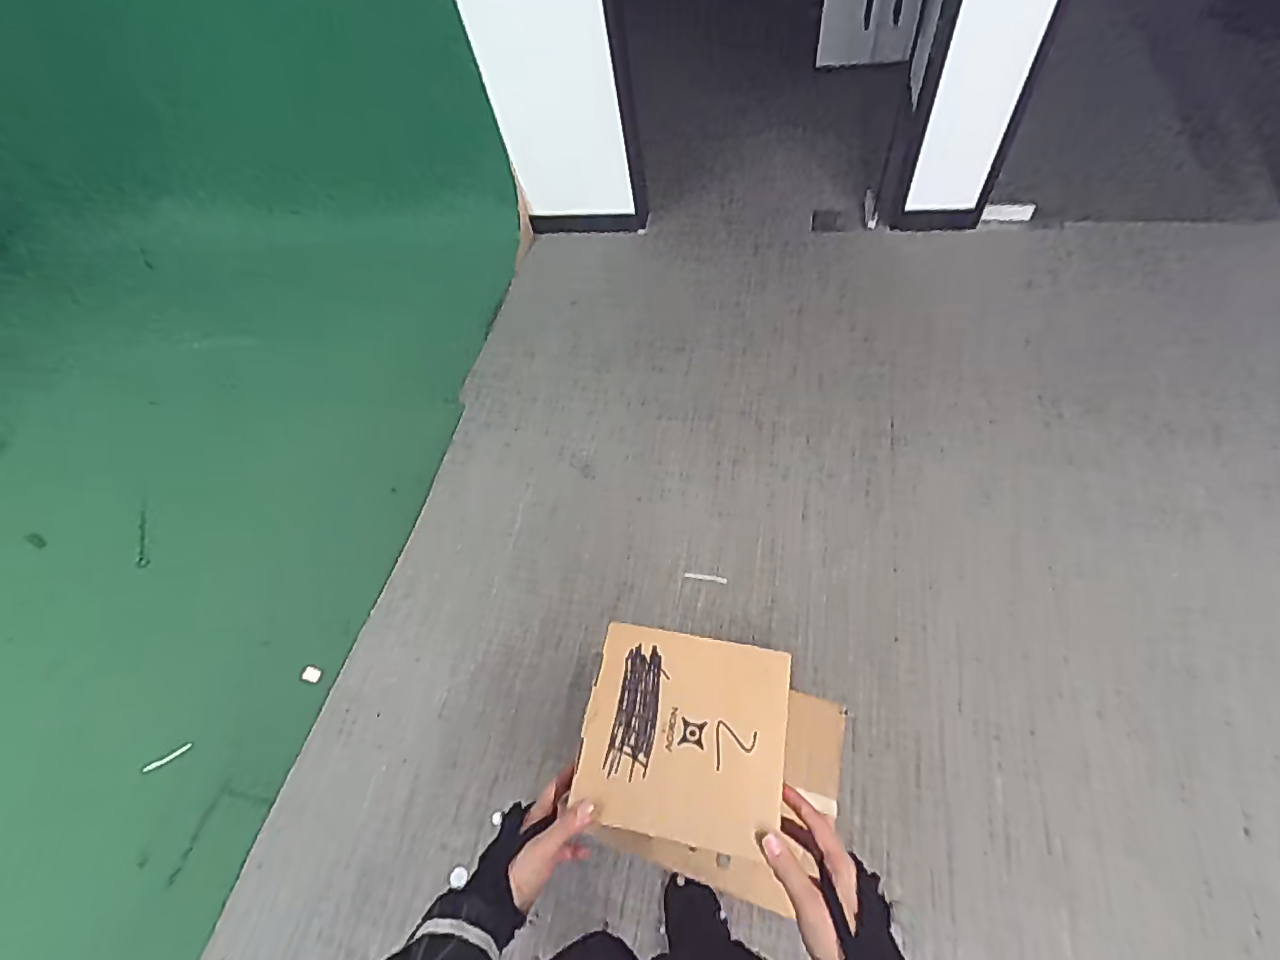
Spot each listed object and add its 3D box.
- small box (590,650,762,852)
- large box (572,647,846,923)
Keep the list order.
[{"bbox_3d":[0.053,0.339,0.681,0.168,0.176,0.179,10,59,13],"label":"small box"},{"bbox_3d":[0.134,0.551,1.015,0.408,0.320,0.320,12,61,15],"label":"large box"}]
